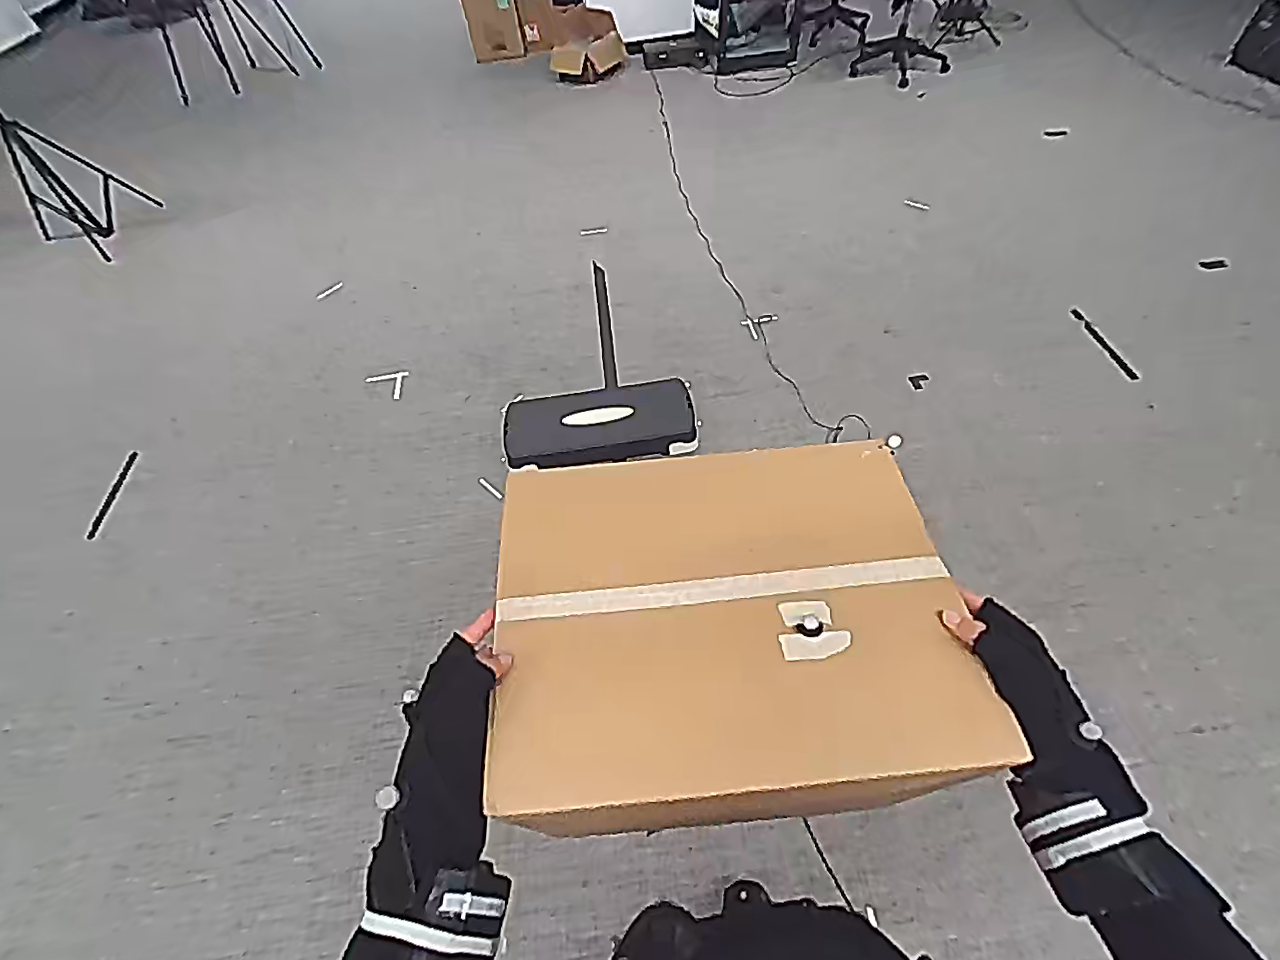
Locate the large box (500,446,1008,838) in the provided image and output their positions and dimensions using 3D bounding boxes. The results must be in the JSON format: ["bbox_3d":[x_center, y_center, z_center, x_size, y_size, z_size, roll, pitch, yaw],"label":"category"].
[{"bbox_3d":[0.080,0.193,0.618,0.408,0.320,0.320,-5,53,-1],"label":"large box"}]
